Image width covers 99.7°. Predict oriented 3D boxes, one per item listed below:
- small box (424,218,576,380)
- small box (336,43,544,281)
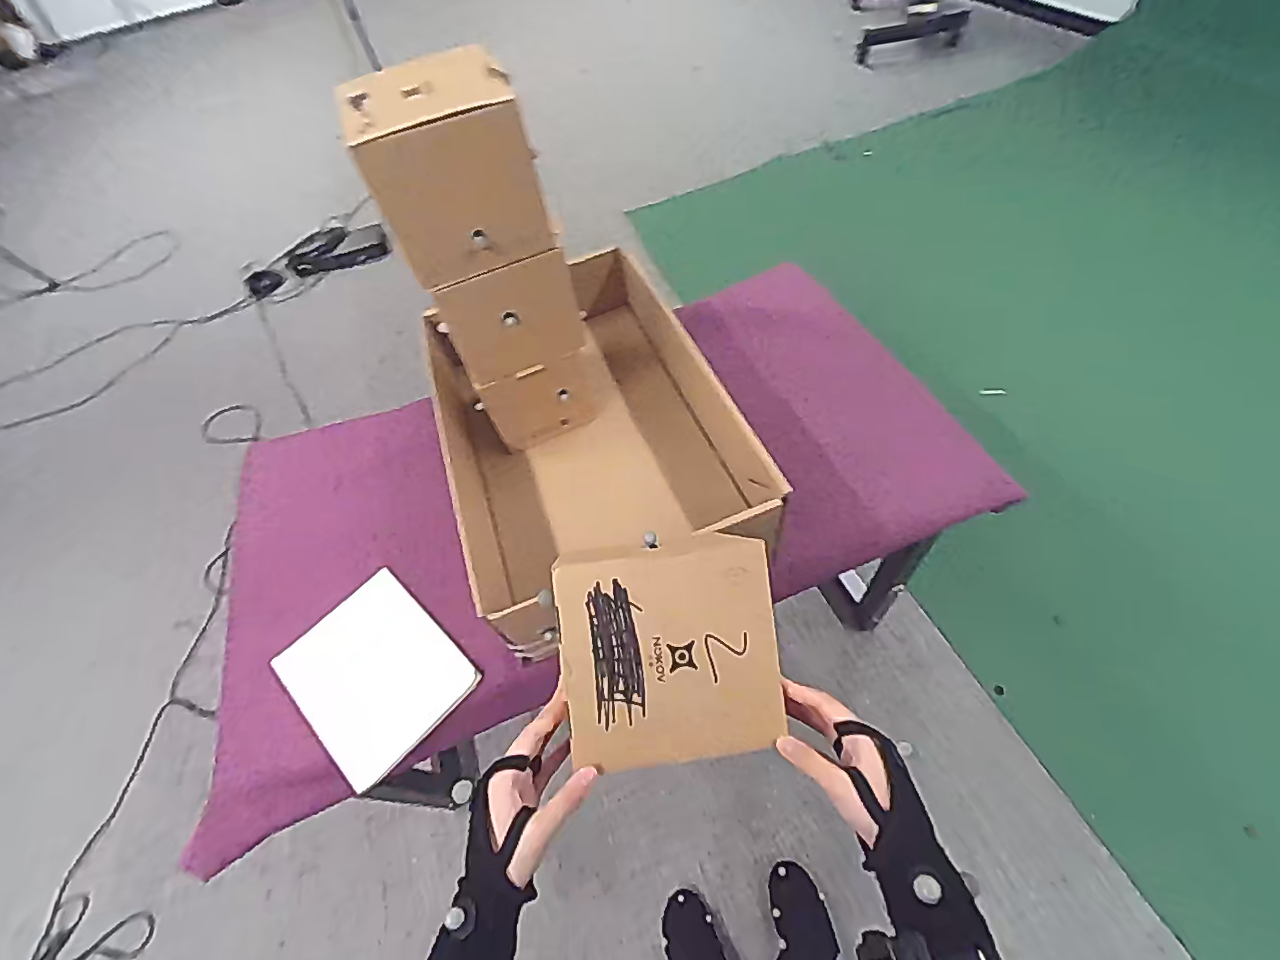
[{"bbox_3d":[-0.200,-0.276,0.769,0.179,0.176,0.168,-24,57,-8],"label":"small box"},{"bbox_3d":[-0.222,-0.368,0.635,0.179,0.176,0.168,-21,56,-8],"label":"small box"}]
